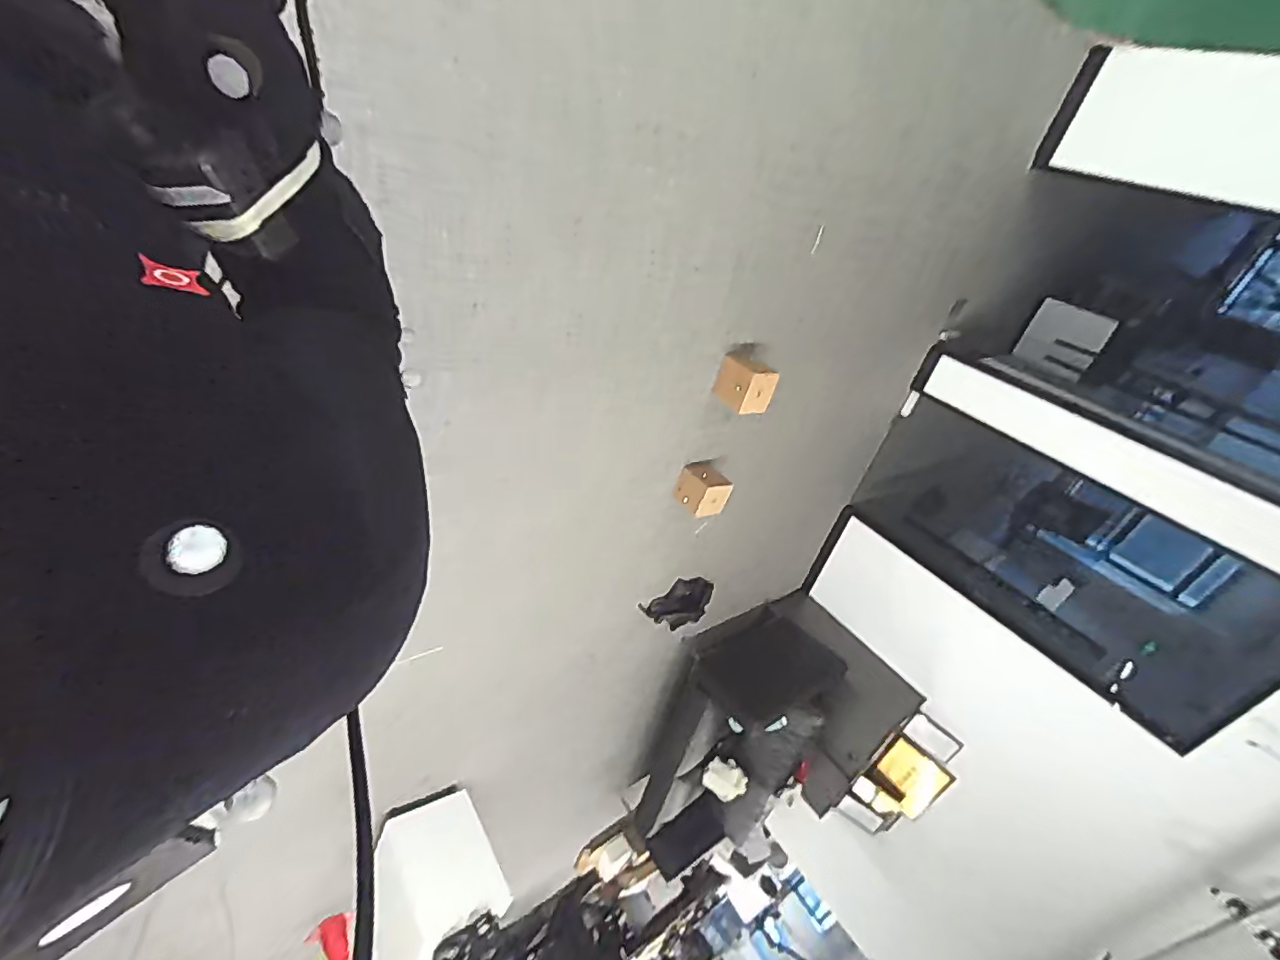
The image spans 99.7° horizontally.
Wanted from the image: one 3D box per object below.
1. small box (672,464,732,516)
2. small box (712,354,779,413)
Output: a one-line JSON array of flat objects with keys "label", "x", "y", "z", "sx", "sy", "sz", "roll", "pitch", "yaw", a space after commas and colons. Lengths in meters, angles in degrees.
[{"label": "small box", "x": 0.272, "y": 0.041, "z": 2.425, "sx": 0.179, "sy": 0.176, "sz": 0.168, "roll": -7, "pitch": 130, "yaw": -41}, {"label": "small box", "x": 0.413, "y": -0.386, "z": 2.157, "sx": 0.168, "sy": 0.176, "sz": 0.179, "roll": -10, "pitch": 131, "yaw": -38}]
